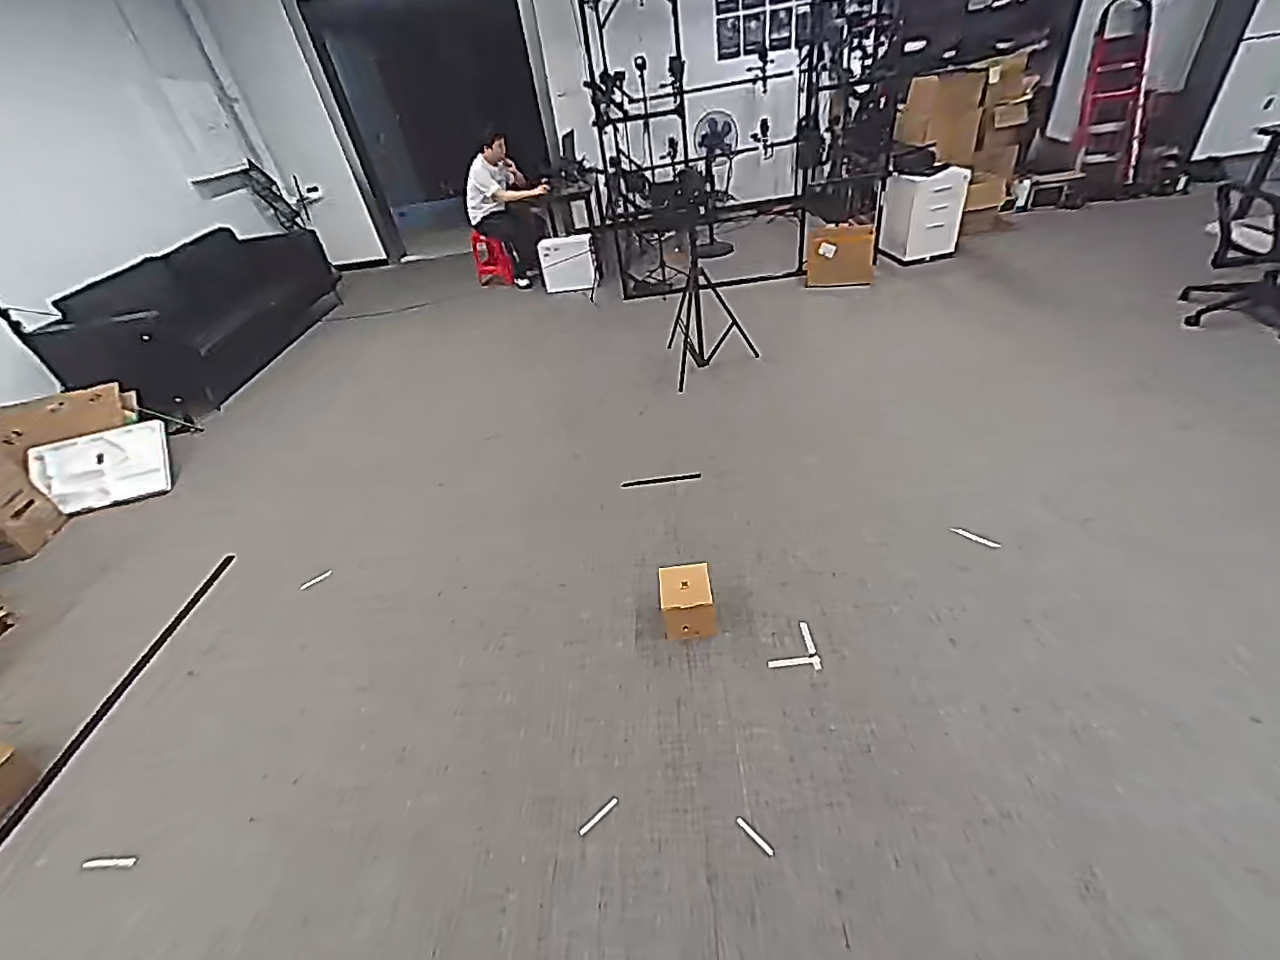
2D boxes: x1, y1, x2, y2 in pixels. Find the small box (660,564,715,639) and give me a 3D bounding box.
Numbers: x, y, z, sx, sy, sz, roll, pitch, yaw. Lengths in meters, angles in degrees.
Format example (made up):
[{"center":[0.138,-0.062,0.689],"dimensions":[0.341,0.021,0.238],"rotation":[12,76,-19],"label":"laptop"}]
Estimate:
[{"center":[0.158,0.408,1.818],"dimensions":[0.168,0.176,0.179],"rotation":[-7,38,3],"label":"small box"}]
